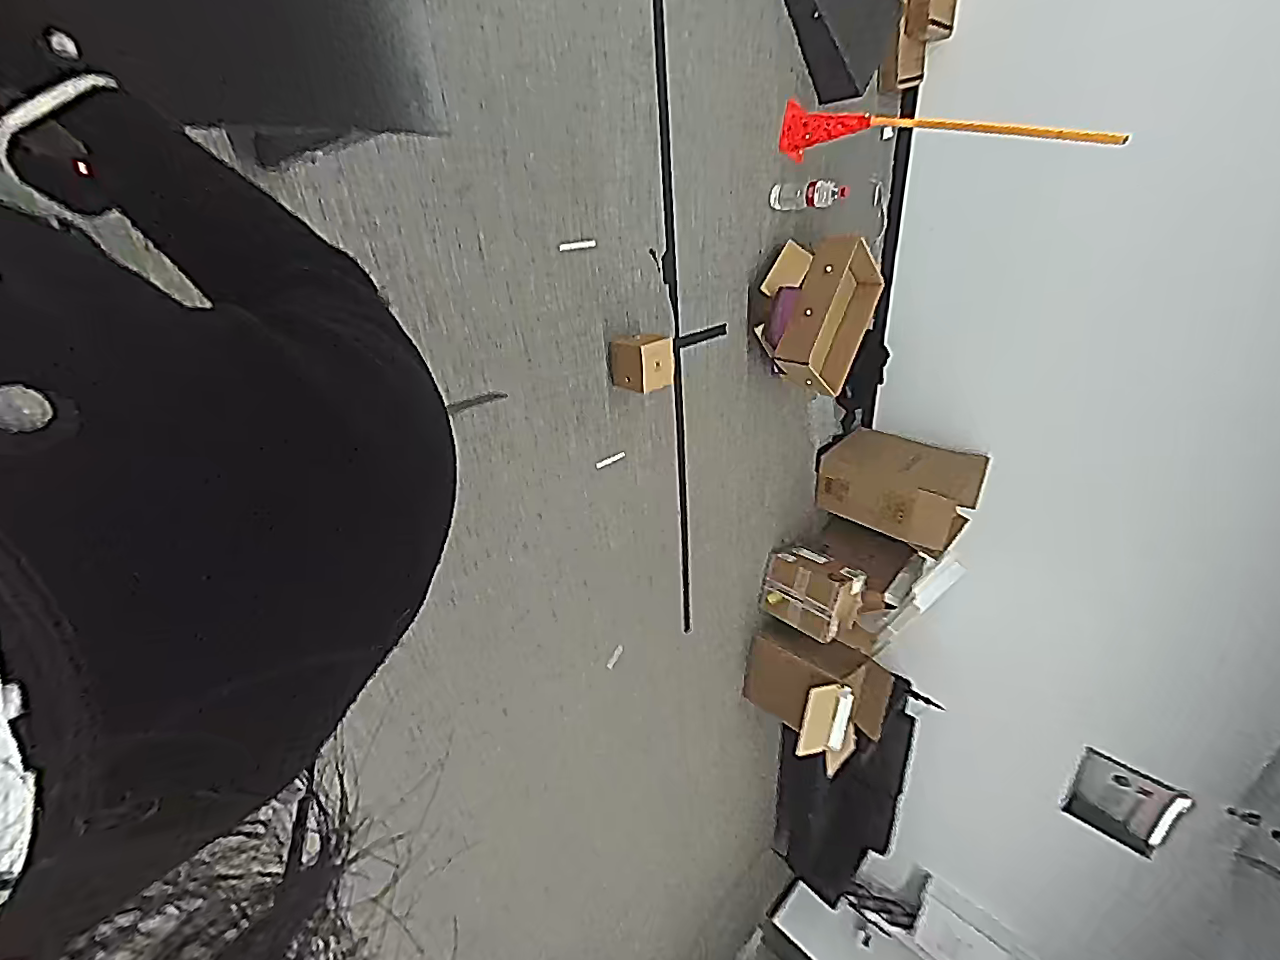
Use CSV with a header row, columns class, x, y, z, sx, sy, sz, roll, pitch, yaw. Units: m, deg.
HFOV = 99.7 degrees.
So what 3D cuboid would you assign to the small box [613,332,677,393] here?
class,x,y,z,sx,sy,sz,roll,pitch,yaw
small box,0.020,-0.440,2.004,0.168,0.176,0.179,-28,125,-37
